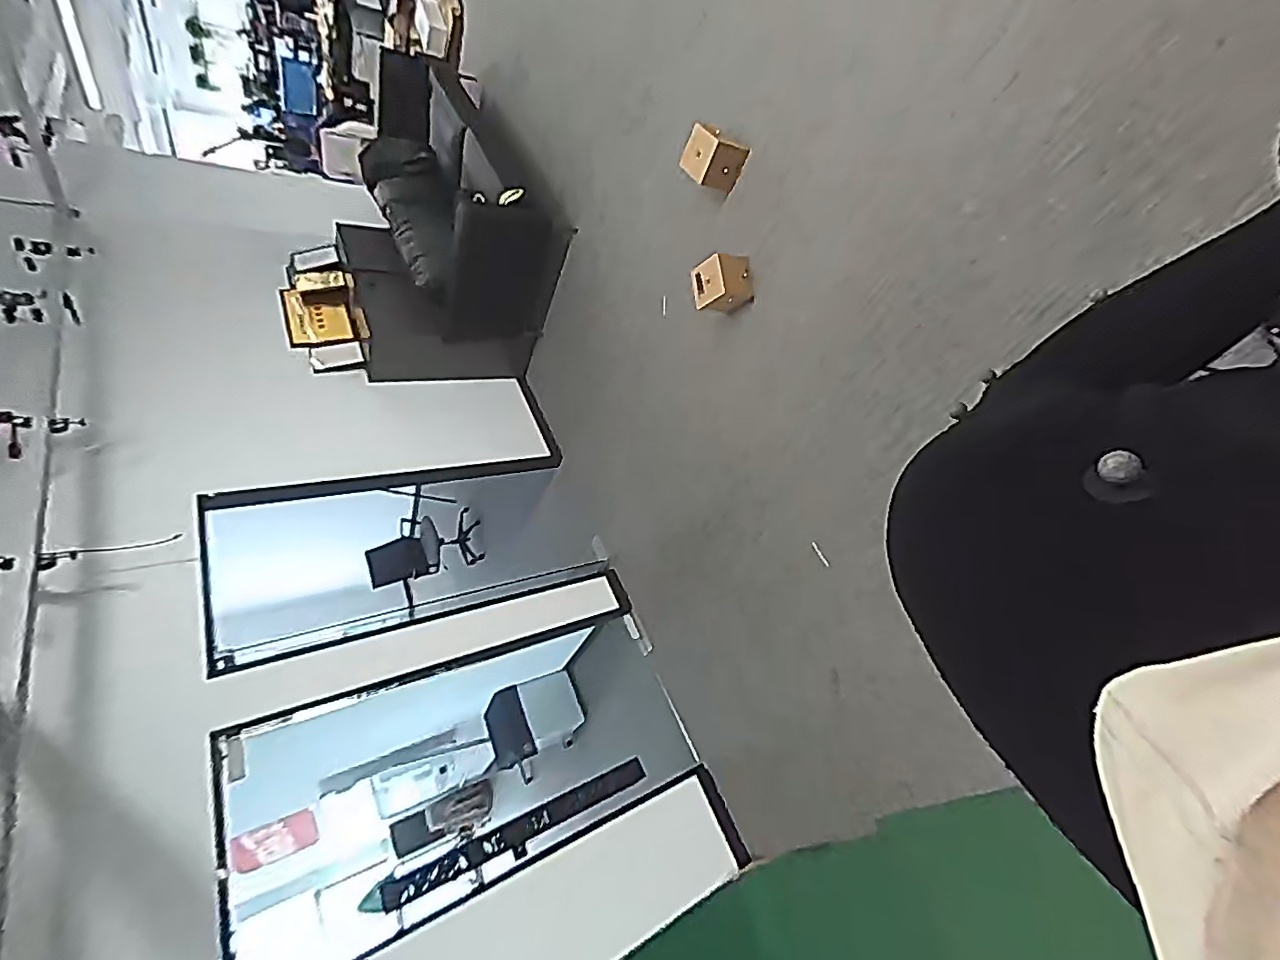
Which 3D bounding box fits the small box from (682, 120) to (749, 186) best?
[{"bbox_3d":[0.302,-1.297,2.156,0.179,0.176,0.168,59,140,29],"label":"small box"}]
